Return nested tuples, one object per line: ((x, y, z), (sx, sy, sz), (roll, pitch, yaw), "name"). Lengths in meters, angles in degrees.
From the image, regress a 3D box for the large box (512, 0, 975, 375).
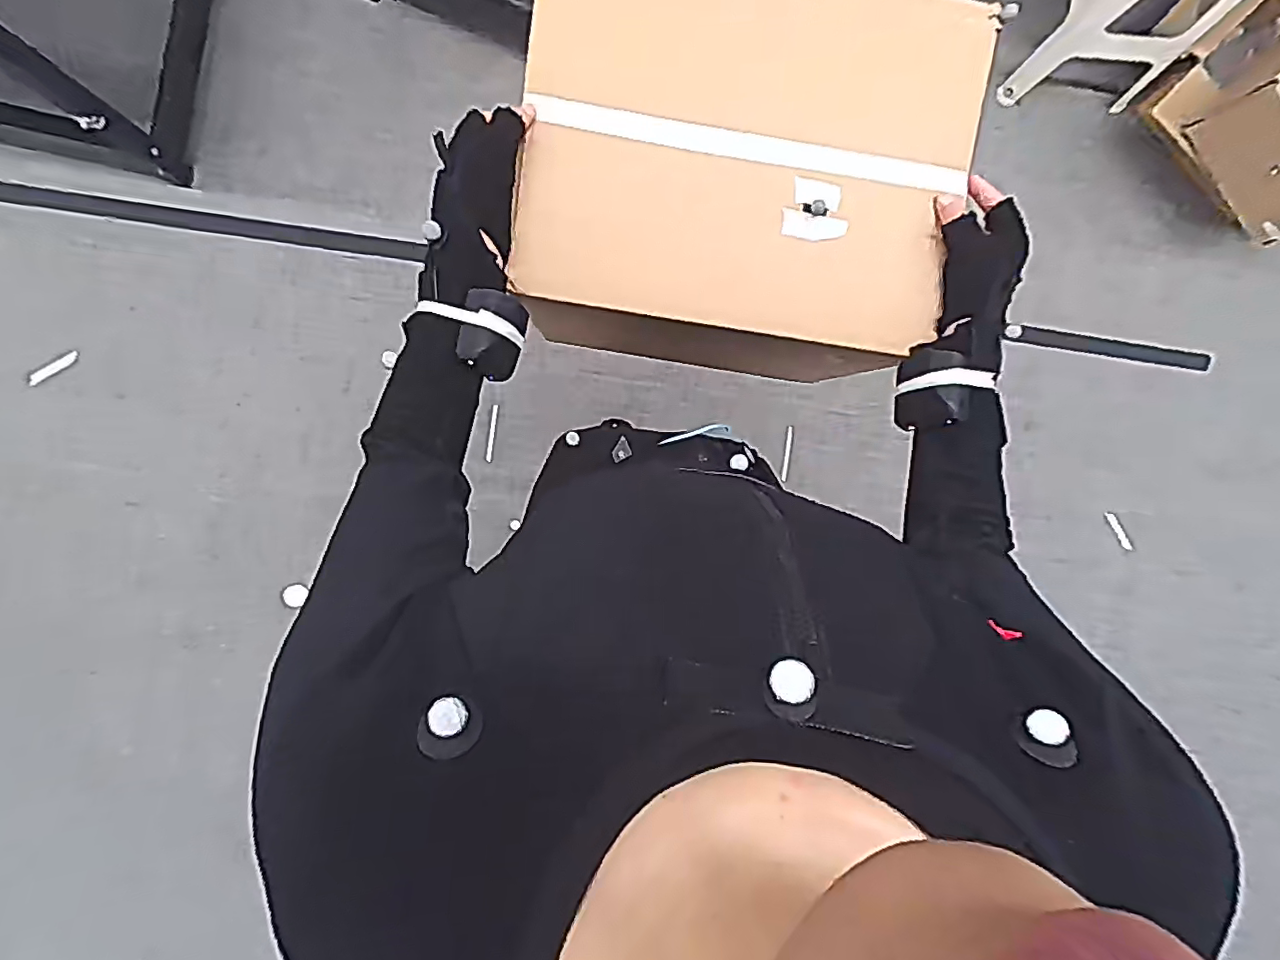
((0.085, -0.318, 0.647), (0.408, 0.320, 0.320), (8, 97, -5), "large box")
